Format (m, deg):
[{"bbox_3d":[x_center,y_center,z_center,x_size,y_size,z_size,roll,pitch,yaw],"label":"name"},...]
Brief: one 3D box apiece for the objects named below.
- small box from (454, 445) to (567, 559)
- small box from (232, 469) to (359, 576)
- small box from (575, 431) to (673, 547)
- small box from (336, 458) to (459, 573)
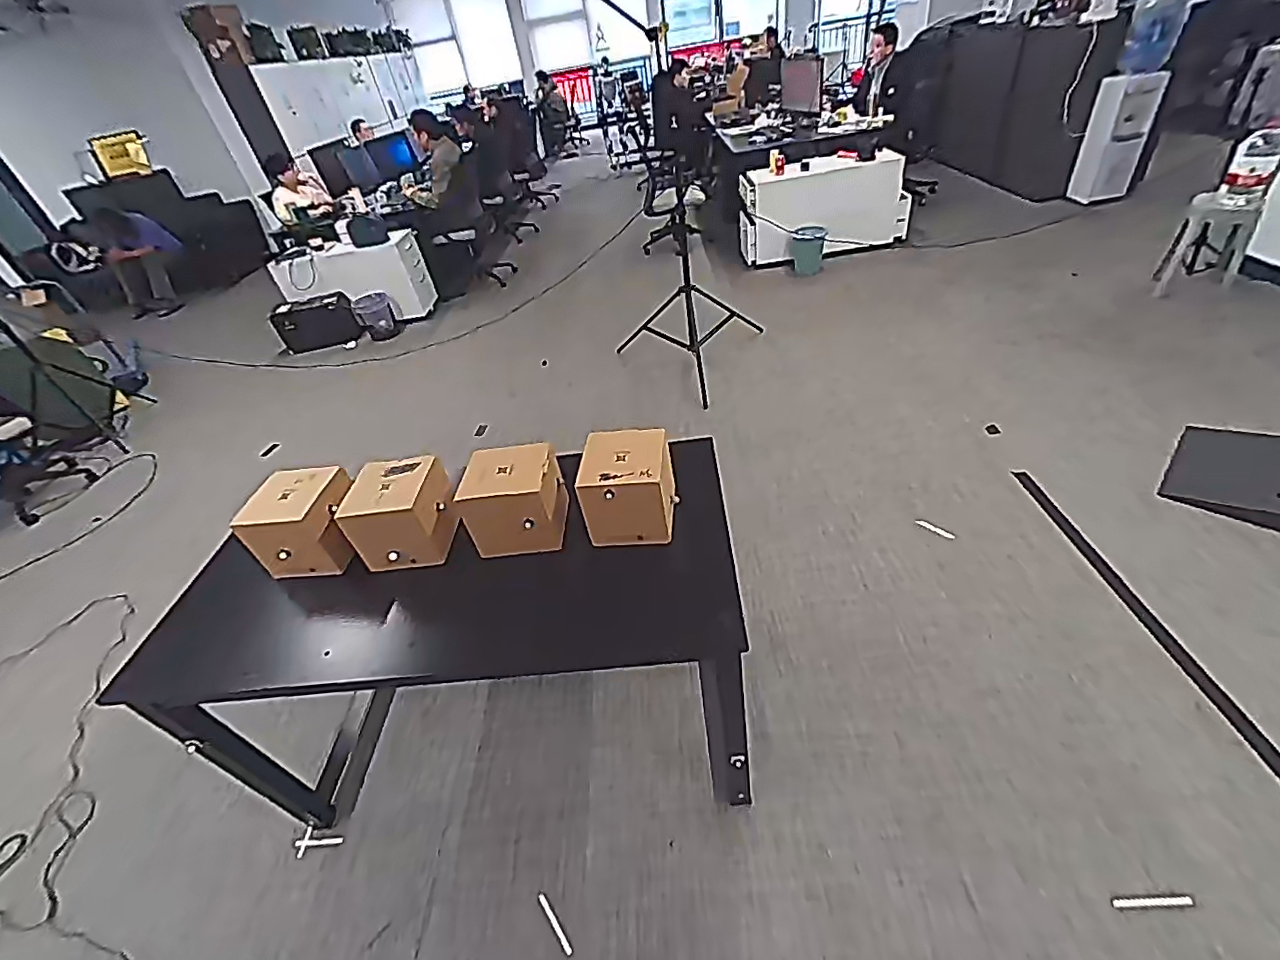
[{"bbox_3d":[-0.263,0.048,1.149,0.179,0.176,0.168,-8,38,6],"label":"small box"},{"bbox_3d":[-0.731,0.100,1.196,0.168,0.176,0.179,-4,39,7],"label":"small box"},{"bbox_3d":[-0.025,0.019,1.123,0.168,0.176,0.179,-4,39,10],"label":"small box"},{"bbox_3d":[-0.509,0.077,1.170,0.168,0.176,0.179,-7,40,4],"label":"small box"}]
